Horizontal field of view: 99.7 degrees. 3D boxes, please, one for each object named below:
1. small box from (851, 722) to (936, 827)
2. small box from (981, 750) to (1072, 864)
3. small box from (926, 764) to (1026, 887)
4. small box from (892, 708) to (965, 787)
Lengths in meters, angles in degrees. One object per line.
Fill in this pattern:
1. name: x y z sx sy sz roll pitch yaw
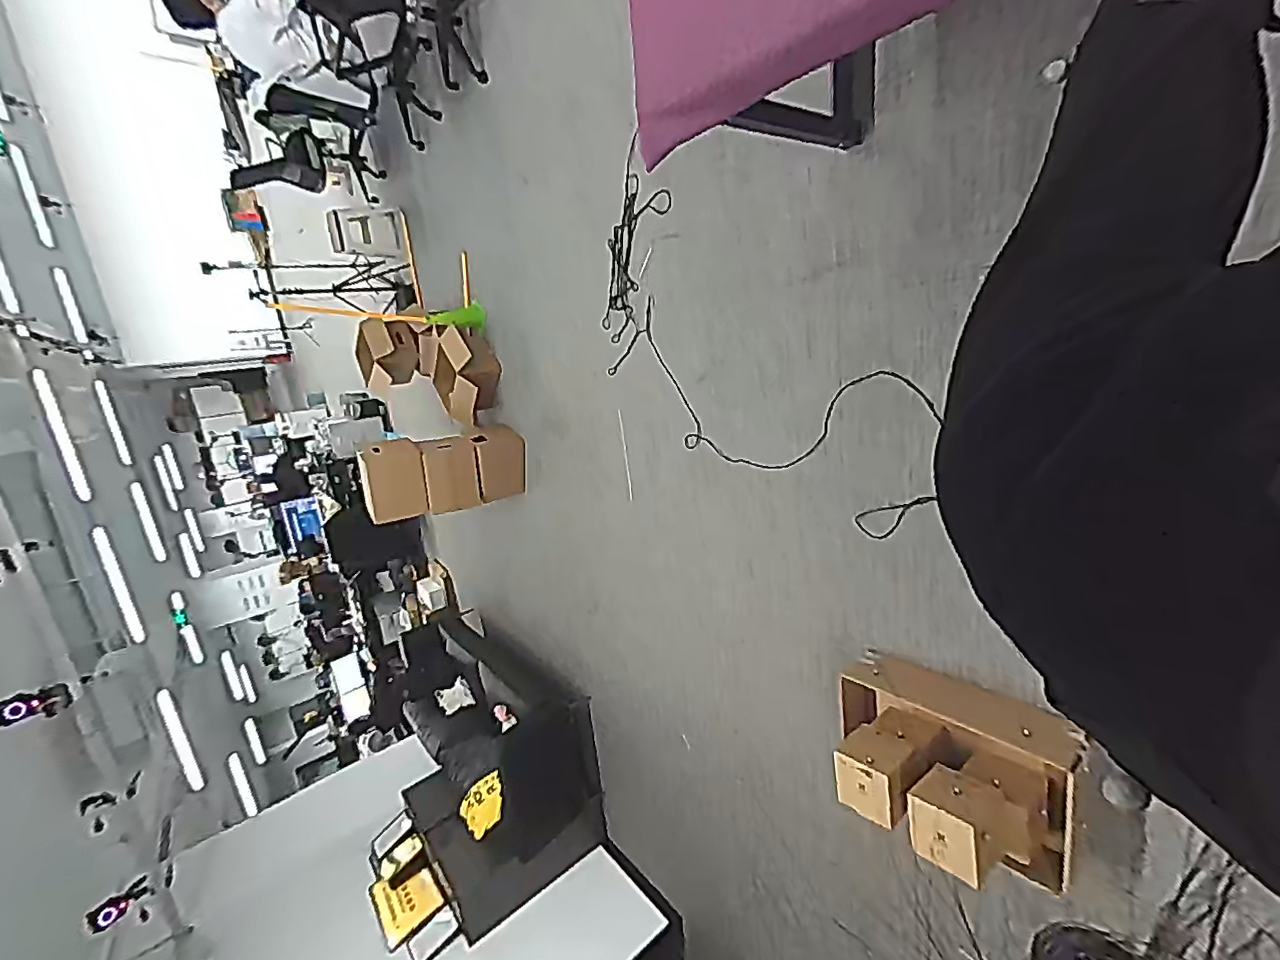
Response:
1. small box: 0.740 0.848 1.574 0.168 0.176 0.179 4 108 52
2. small box: 1.035 0.867 1.457 0.179 0.176 0.168 5 107 56
3. small box: 0.874 0.882 1.403 0.168 0.176 0.179 2 104 57
4. small box: 0.877 0.832 1.666 0.179 0.176 0.168 -2 102 54
